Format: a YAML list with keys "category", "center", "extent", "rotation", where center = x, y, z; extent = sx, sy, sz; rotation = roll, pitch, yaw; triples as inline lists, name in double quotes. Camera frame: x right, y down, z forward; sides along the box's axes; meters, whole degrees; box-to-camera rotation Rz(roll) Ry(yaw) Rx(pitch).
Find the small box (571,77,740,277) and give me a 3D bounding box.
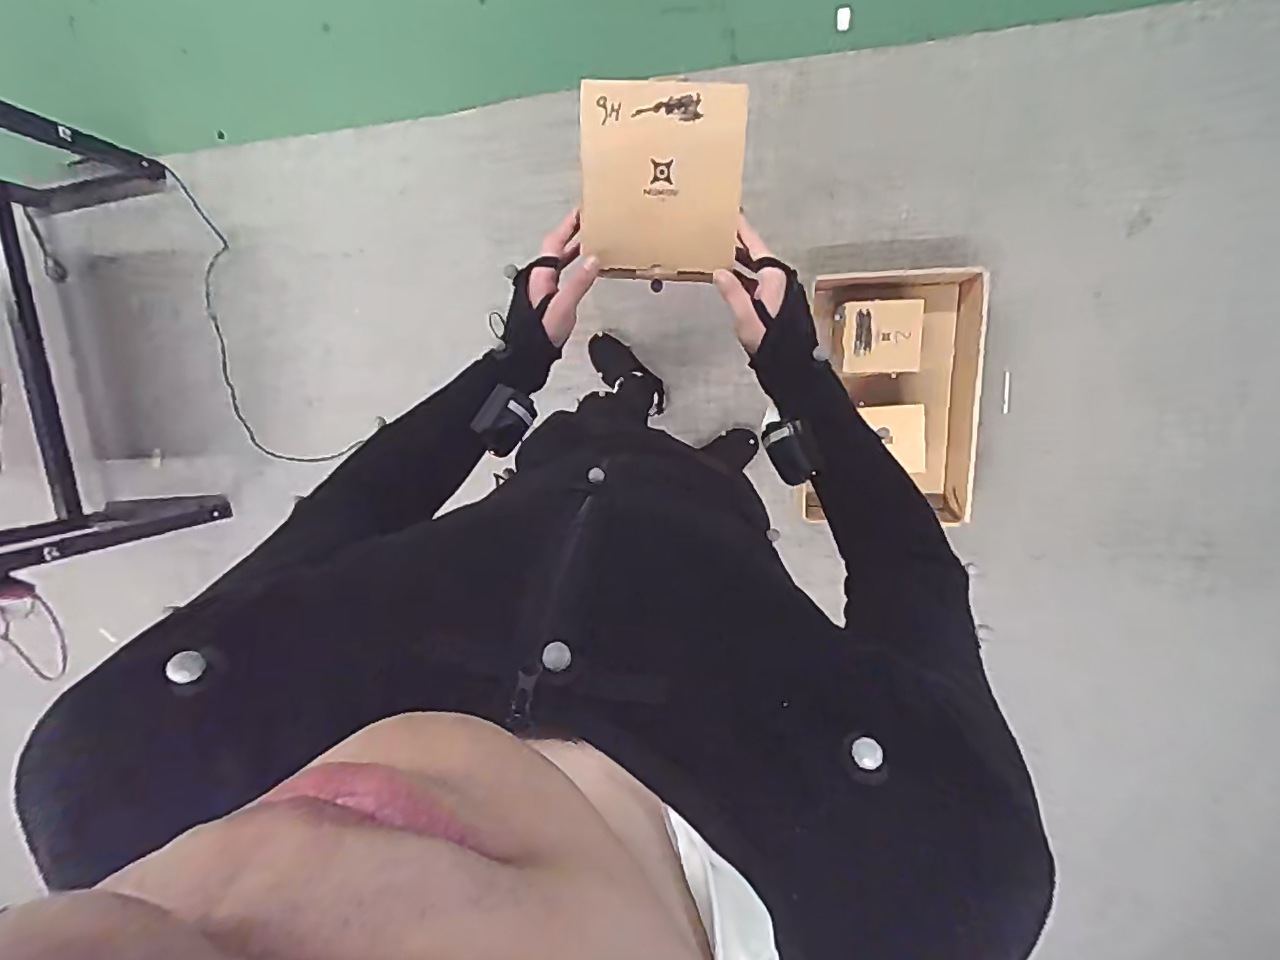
- category: "small box"
  center: [0.016, -0.330, 0.622]
  extent: [0.168, 0.176, 0.179]
  rotation: [3, 109, 2]
